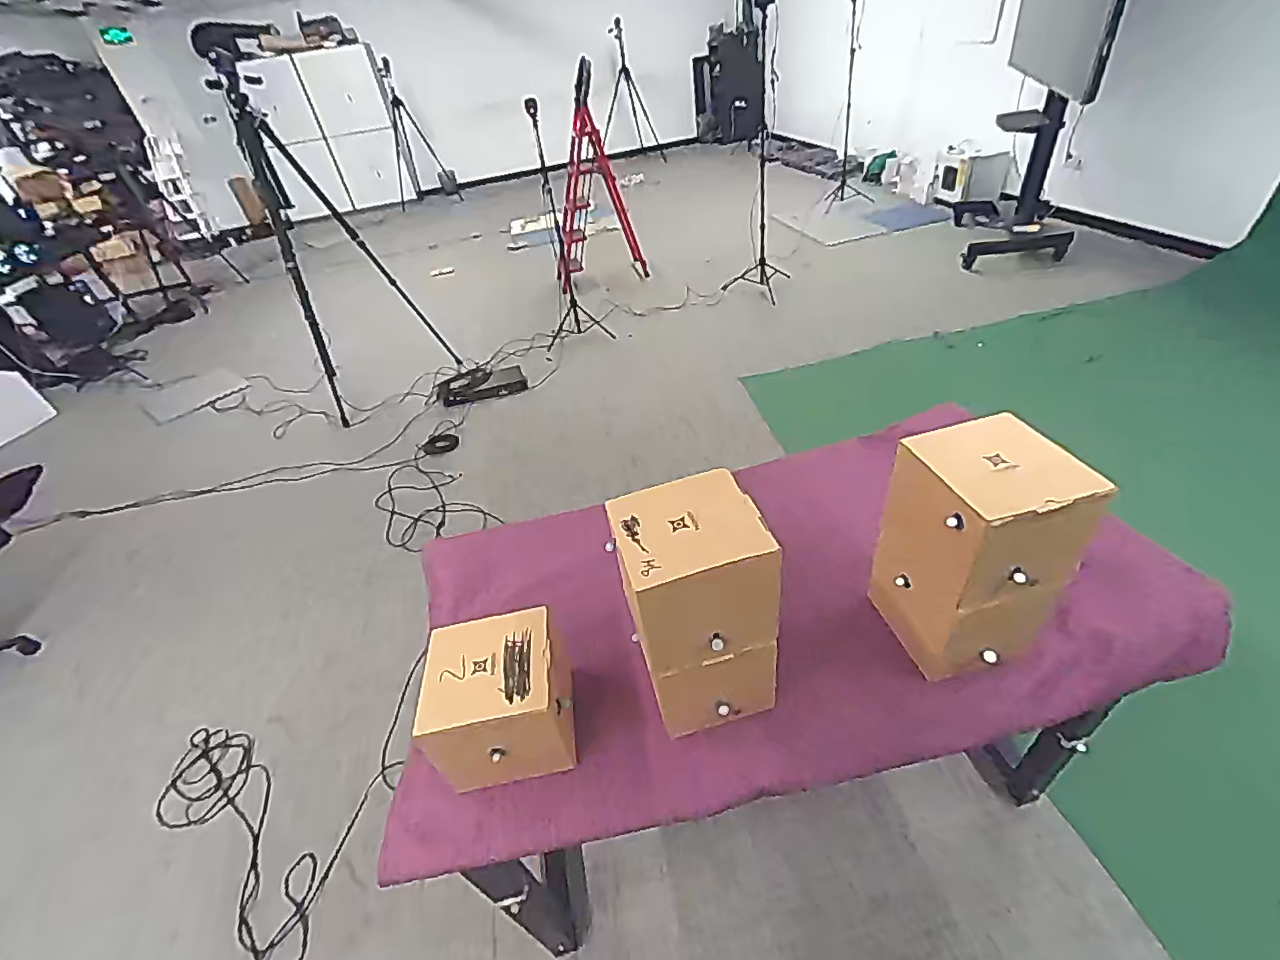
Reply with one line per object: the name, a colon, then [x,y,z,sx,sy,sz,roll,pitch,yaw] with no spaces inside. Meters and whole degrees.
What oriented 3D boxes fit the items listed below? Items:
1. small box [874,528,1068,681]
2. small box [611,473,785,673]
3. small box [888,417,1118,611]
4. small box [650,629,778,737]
small box: [0.482,0.171,0.823,0.168,0.176,0.179,-14,39,-5]
small box: [0.071,0.120,0.707,0.179,0.176,0.168,-14,37,-7]
small box: [0.460,0.043,0.725,0.168,0.176,0.179,-14,39,-5]
small box: [0.094,0.245,0.810,0.168,0.176,0.179,-15,38,-6]
